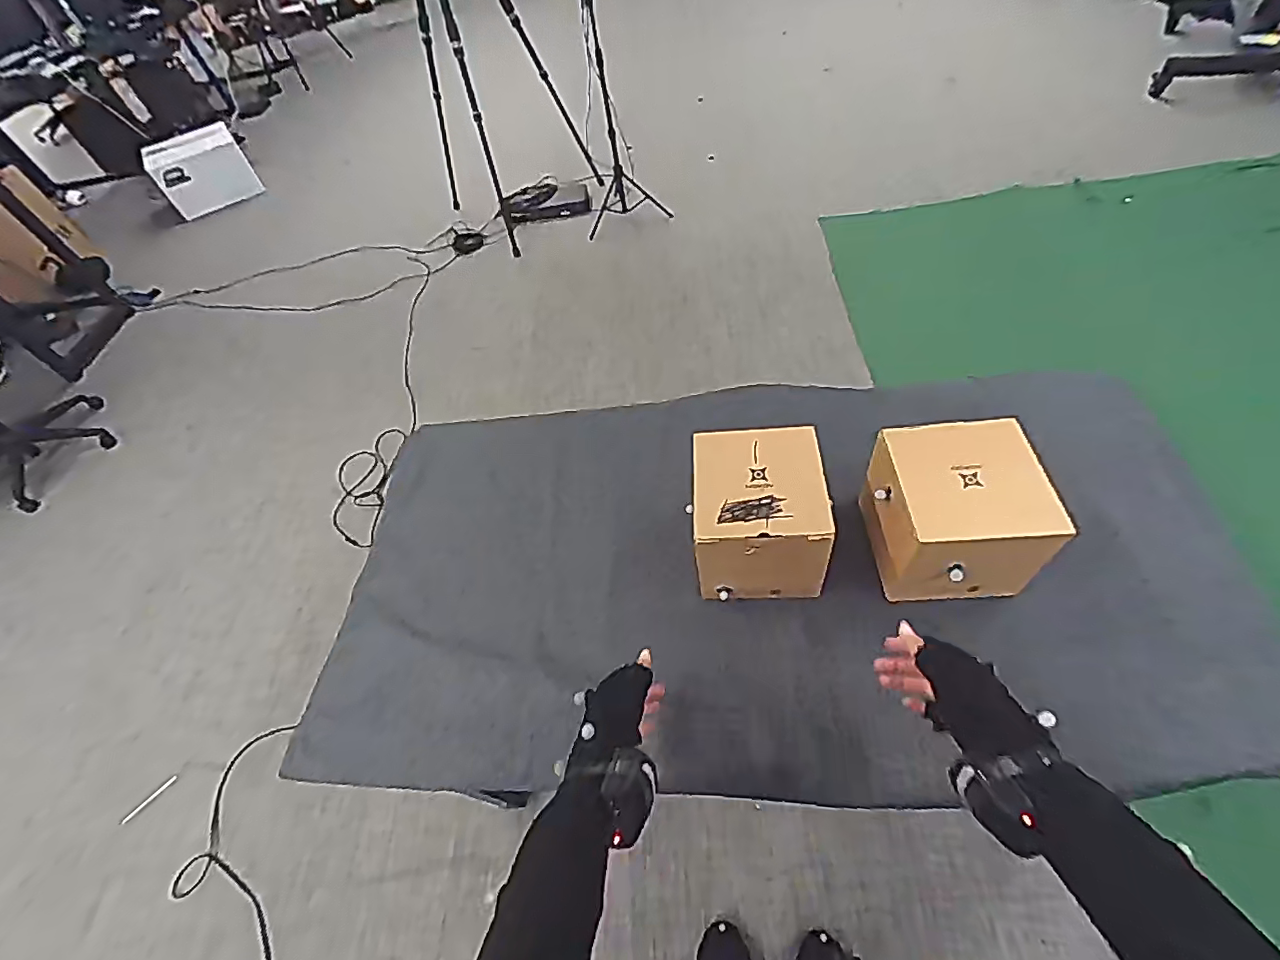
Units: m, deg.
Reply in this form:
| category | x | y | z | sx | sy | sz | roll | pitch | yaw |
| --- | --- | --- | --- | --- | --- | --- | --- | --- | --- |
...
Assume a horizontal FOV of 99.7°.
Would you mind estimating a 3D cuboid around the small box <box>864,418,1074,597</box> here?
| category | x | y | z | sx | sy | sz | roll | pitch | yaw |
| --- | --- | --- | --- | --- | --- | --- | --- | --- | --- |
| small box | 0.407 | 0.045 | 0.709 | 0.168 | 0.176 | 0.179 | -5 | 53 | 8 |

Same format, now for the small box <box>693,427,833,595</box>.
| category | x | y | z | sx | sy | sz | roll | pitch | yaw |
| --- | --- | --- | --- | --- | --- | --- | --- | --- | --- |
| small box | 0.163 | 0.049 | 0.749 | 0.168 | 0.176 | 0.179 | -2 | 53 | 9 |
